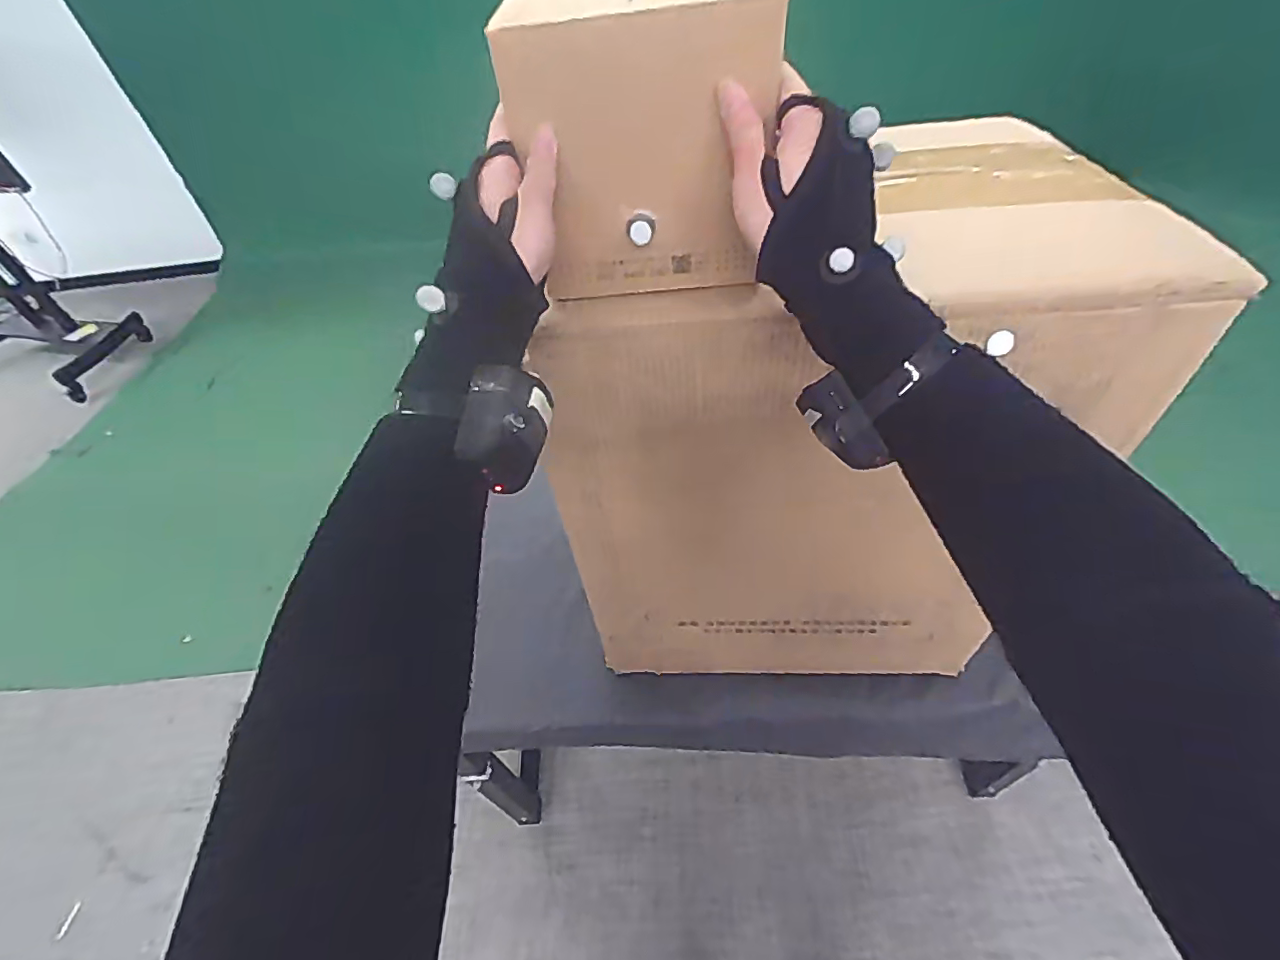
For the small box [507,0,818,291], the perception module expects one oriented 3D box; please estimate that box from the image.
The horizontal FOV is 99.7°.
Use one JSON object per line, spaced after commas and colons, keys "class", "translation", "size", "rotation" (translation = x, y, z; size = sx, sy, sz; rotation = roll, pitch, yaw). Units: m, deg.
{"class": "small box", "translation": [0.021, -0.258, 0.392], "size": [0.168, 0.176, 0.179], "rotation": [-1, 50, 6]}
